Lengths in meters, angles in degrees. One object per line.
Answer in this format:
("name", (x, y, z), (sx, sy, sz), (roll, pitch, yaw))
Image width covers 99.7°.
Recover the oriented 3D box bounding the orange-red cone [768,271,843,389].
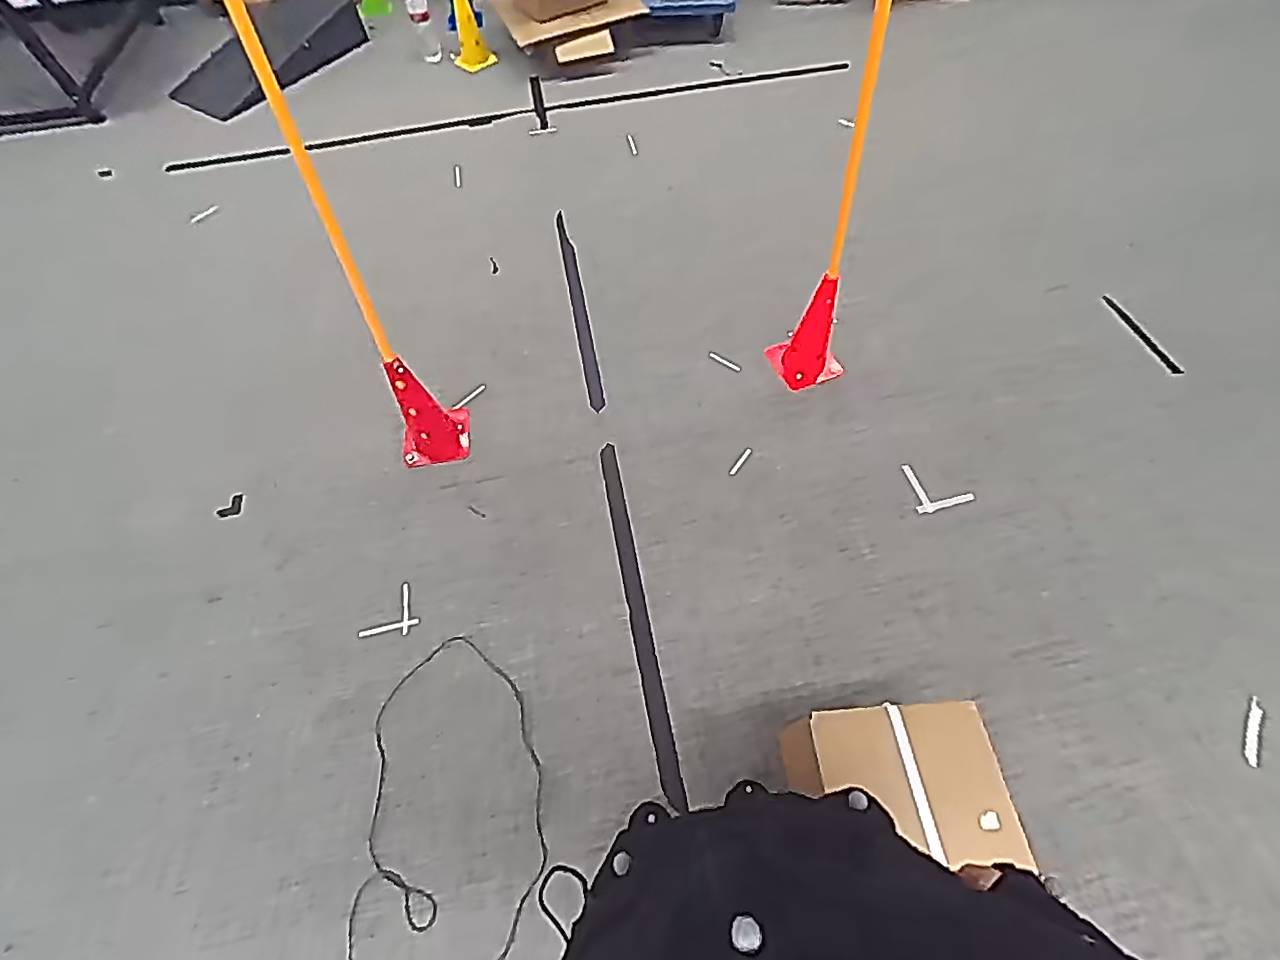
("orange-red cone", (0.540, -0.476, 1.636), (0.199, 0.360, 0.198), (-18, 62, -9))
